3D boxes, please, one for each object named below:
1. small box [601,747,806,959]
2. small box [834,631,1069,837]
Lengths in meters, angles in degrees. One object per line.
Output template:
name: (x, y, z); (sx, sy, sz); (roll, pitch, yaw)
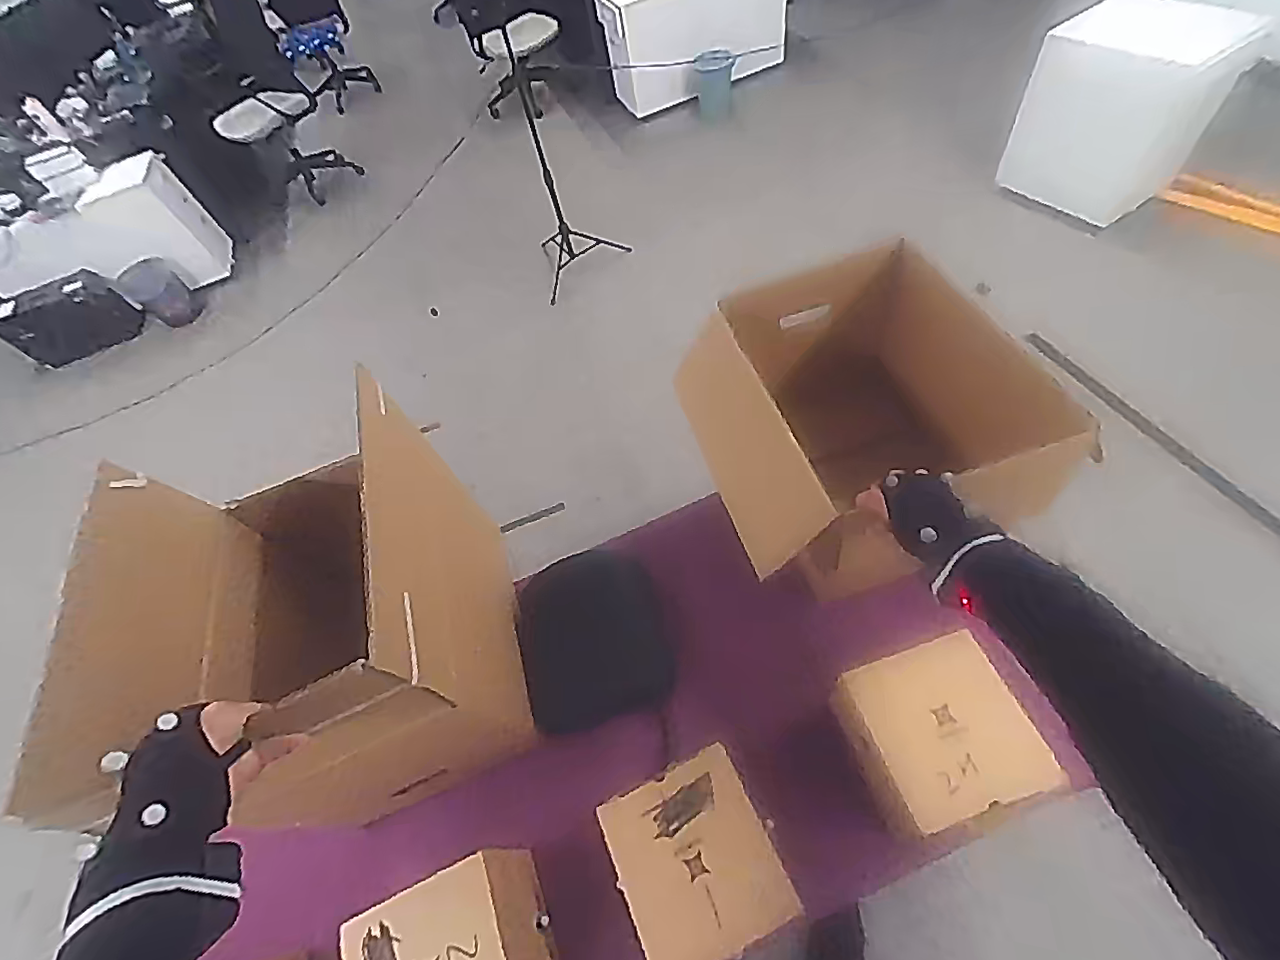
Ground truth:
small box: (0.074, 0.452, 0.645); (0.168, 0.176, 0.179); (-27, 56, -5)
small box: (0.358, 0.317, 0.668); (0.168, 0.176, 0.179); (-20, 55, 0)
